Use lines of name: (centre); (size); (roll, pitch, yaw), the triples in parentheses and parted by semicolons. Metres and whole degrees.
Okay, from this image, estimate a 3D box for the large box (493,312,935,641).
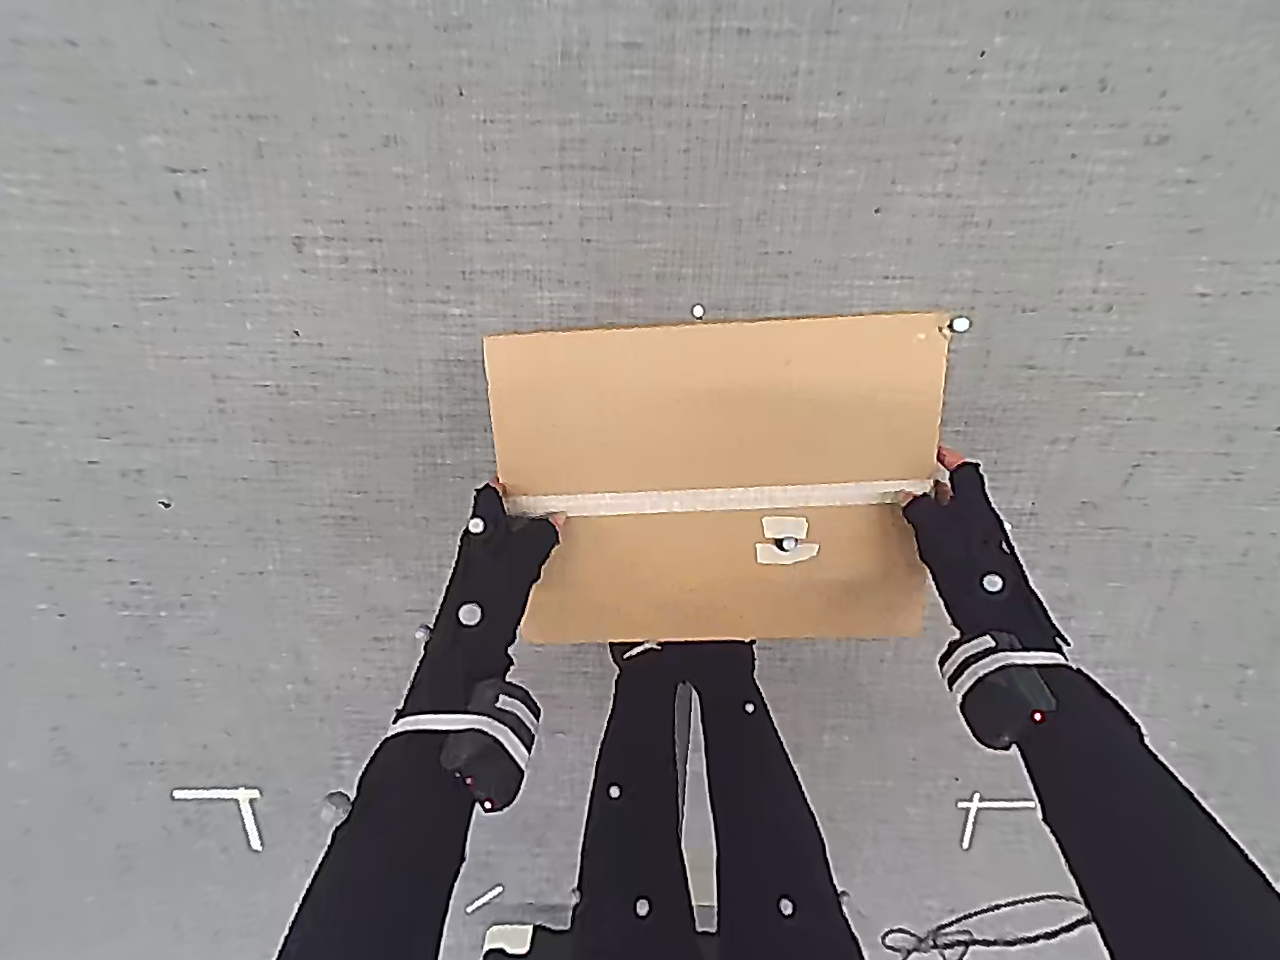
large box: (0.076, -0.028, 0.667); (0.408, 0.320, 0.320); (-3, 107, 2)
